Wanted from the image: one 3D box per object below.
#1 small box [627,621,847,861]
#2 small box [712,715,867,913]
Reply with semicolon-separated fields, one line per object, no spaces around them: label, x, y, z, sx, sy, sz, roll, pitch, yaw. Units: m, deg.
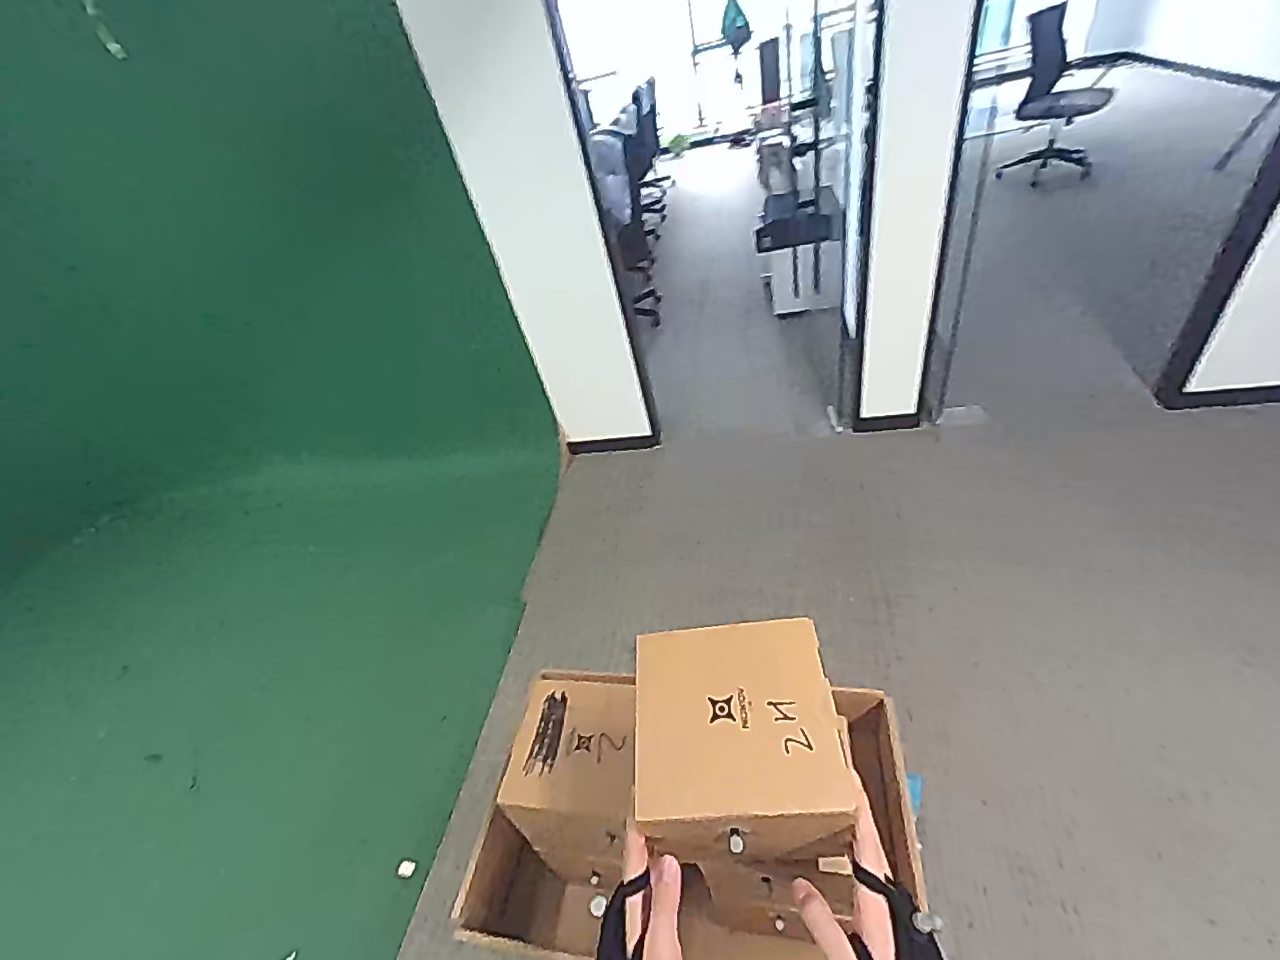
small box;0.093;0.260;0.530;0.179;0.176;0.168;-9;45;9
small box;0.178;0.406;0.668;0.179;0.176;0.168;-5;41;17
